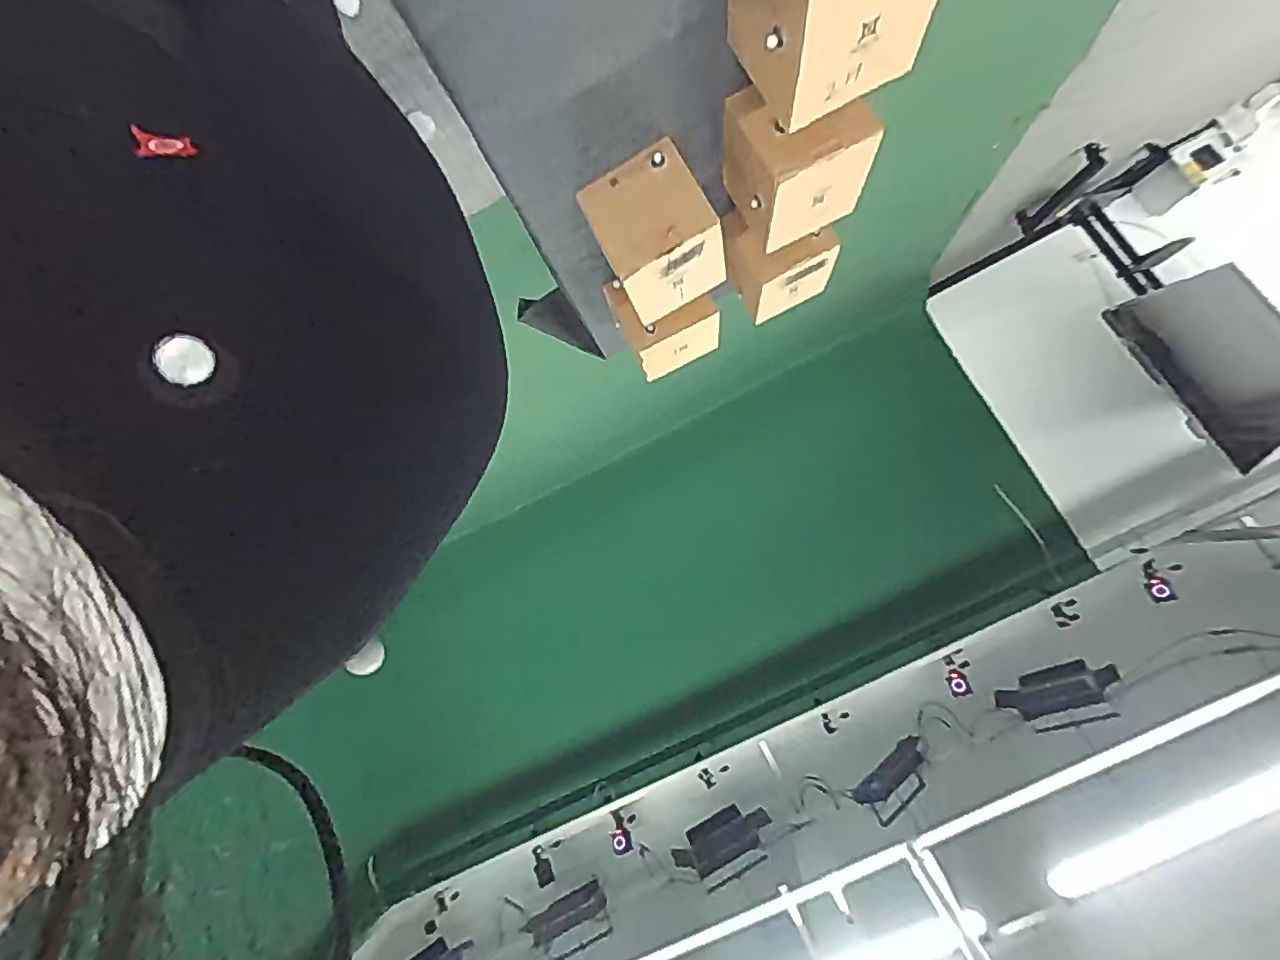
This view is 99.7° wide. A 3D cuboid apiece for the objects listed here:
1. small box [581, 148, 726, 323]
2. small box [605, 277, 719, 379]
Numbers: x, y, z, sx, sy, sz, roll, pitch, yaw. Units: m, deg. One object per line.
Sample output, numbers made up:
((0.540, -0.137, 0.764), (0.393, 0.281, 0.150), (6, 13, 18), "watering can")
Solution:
((0.025, -0.396, 0.877), (0.168, 0.176, 0.179), (-29, 169, 7), "small box")
((0.048, -0.348, 1.133), (0.179, 0.176, 0.168), (-27, 168, 1), "small box")
